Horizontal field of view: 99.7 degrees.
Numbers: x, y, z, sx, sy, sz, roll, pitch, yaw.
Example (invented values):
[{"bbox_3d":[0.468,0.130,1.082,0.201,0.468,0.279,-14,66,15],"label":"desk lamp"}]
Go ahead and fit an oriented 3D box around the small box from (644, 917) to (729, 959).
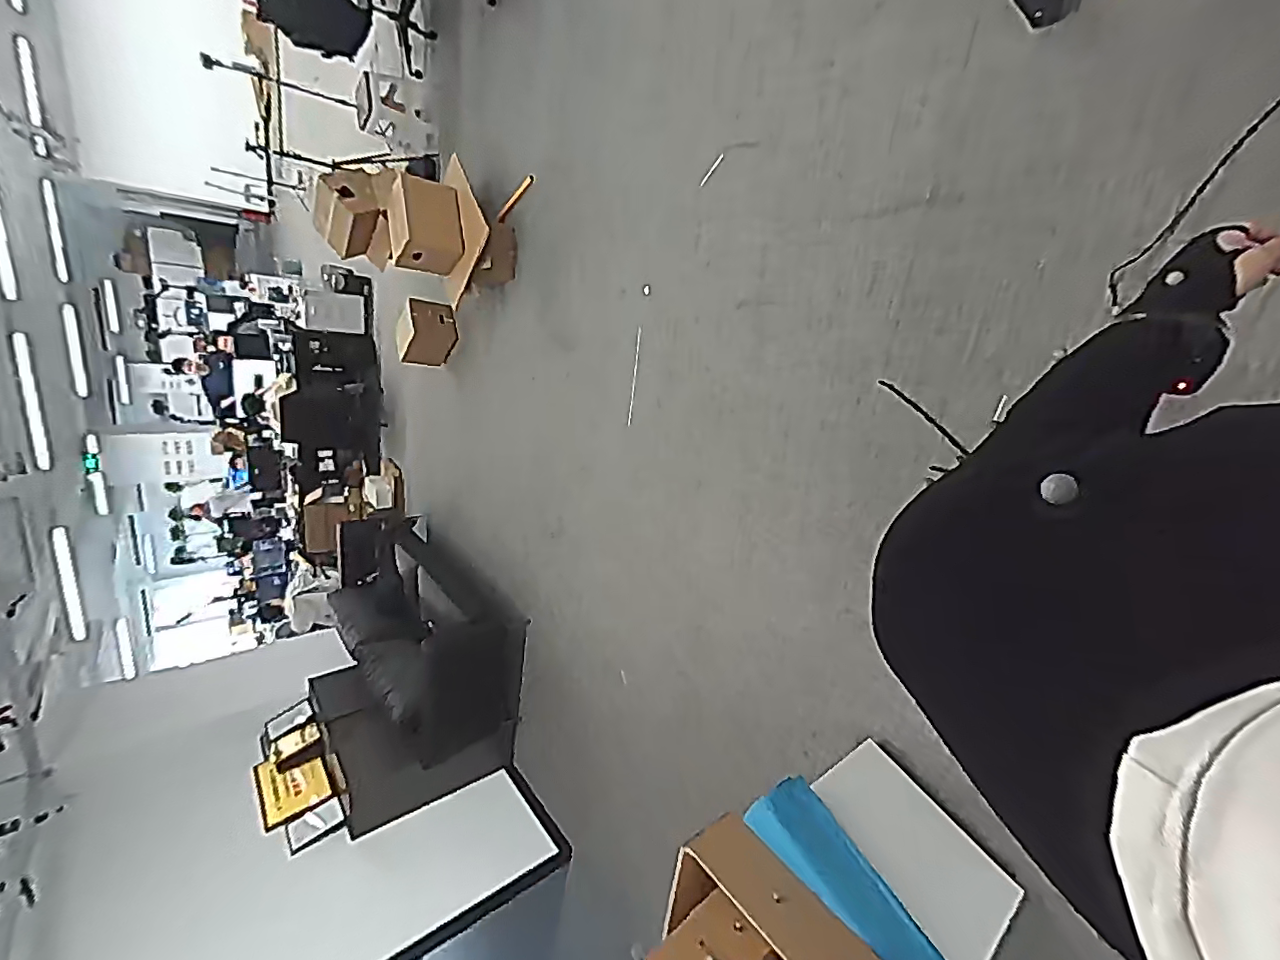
[{"bbox_3d":[0.113,1.190,1.256,0.168,0.176,0.179,25,115,44],"label":"small box"}]
